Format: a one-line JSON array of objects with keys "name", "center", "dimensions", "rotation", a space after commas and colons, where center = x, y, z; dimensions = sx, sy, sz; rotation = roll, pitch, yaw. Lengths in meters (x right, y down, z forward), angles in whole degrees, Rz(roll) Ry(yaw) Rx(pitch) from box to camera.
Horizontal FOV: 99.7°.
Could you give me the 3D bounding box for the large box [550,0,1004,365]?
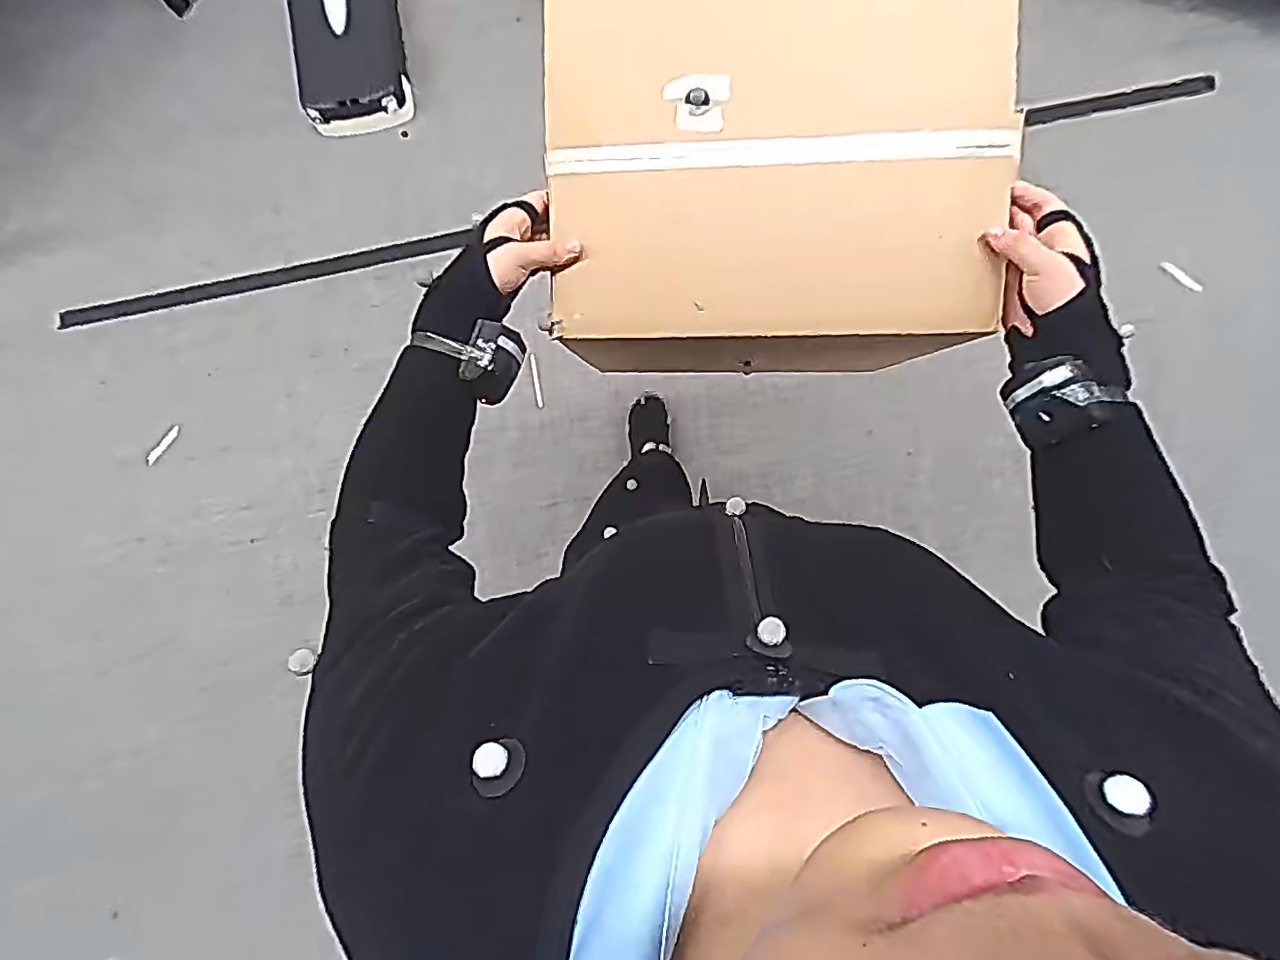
[{"name": "large box", "center": [0.132, -0.311, 0.638], "dimensions": [0.408, 0.320, 0.320], "rotation": [0, 94, 5]}]
